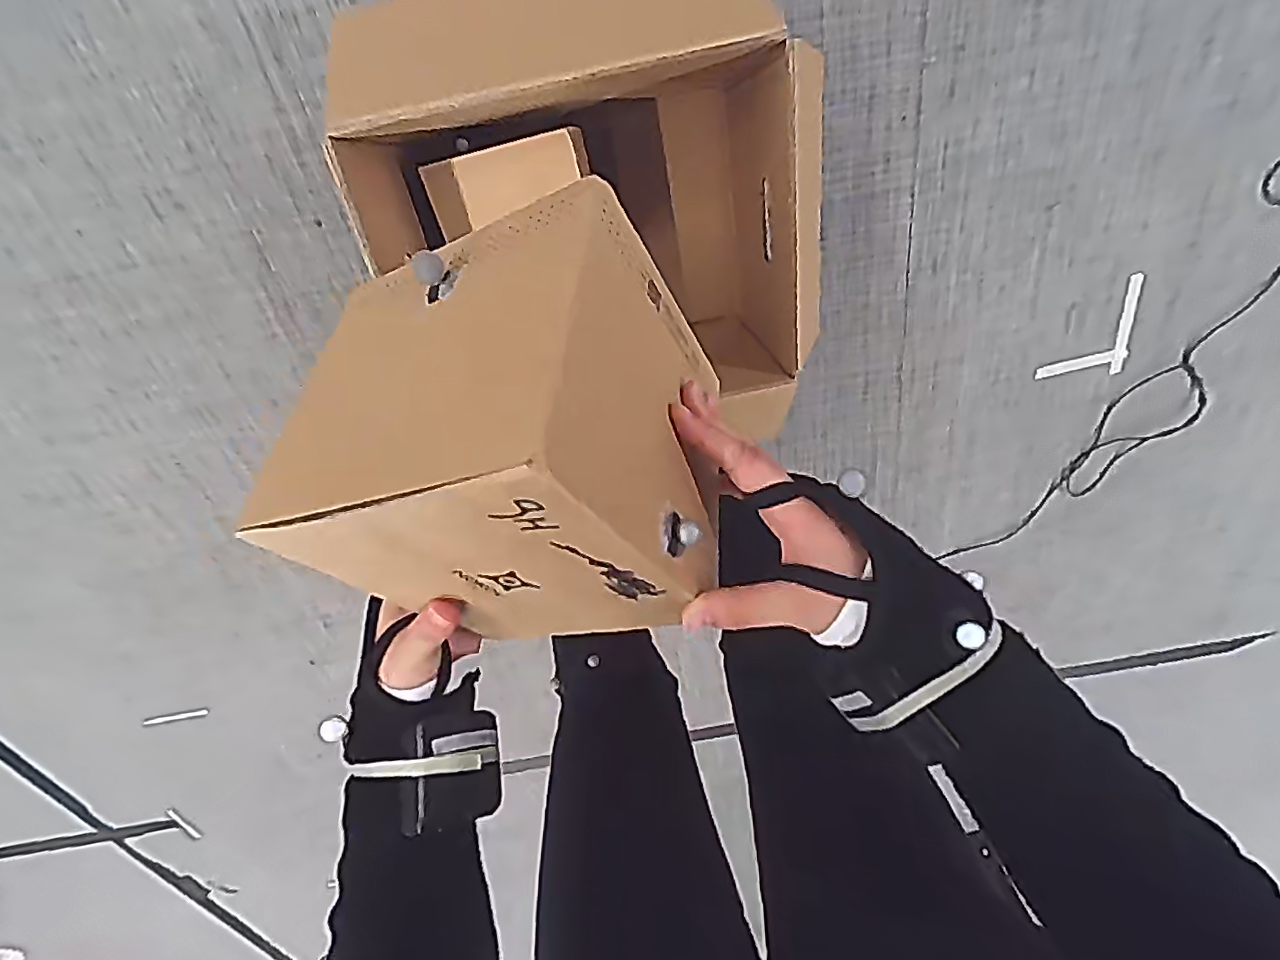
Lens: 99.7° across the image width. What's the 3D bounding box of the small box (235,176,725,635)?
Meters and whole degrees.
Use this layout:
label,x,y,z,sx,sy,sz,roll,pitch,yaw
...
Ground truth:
label,x,y,z,sx,sy,sz,roll,pitch,yaw
small box,-0.060,-0.023,0.301,0.179,0.176,0.168,-11,145,26
